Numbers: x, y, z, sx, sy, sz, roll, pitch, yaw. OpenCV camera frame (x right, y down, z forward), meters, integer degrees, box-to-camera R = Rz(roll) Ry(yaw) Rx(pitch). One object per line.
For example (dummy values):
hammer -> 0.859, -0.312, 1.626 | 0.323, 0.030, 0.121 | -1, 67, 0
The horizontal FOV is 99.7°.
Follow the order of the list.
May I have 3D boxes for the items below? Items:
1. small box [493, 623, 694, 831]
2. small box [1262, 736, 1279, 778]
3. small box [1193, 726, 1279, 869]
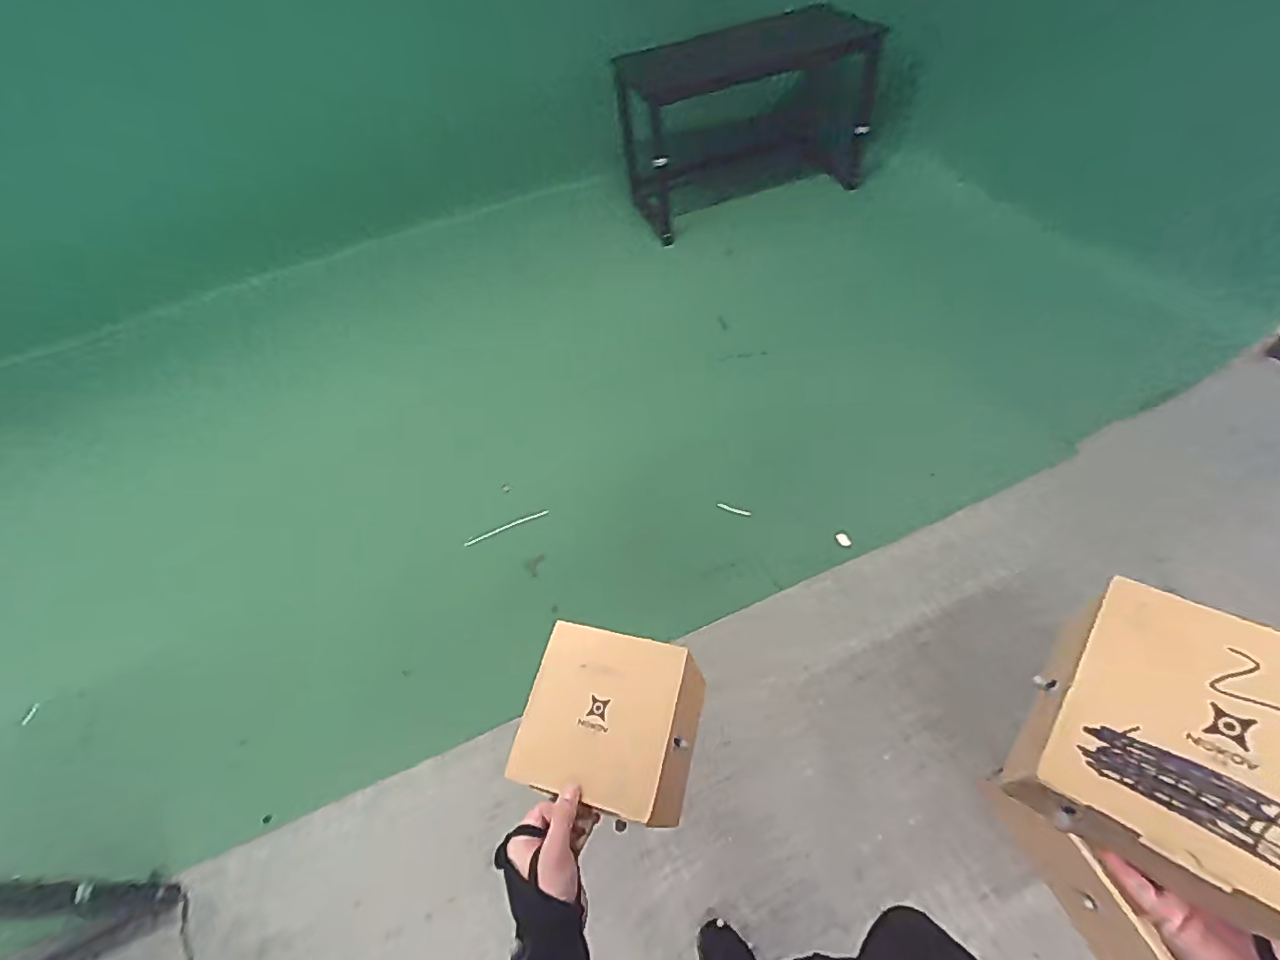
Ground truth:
small box -> -0.039, 0.294, 0.643 | 0.168, 0.176, 0.179 | 7, 60, 19
small box -> 1.046, 0.399, 0.736 | 0.179, 0.176, 0.168 | -22, 53, -6
small box -> 1.071, 0.497, 0.863 | 0.179, 0.176, 0.168 | -21, 52, -6
